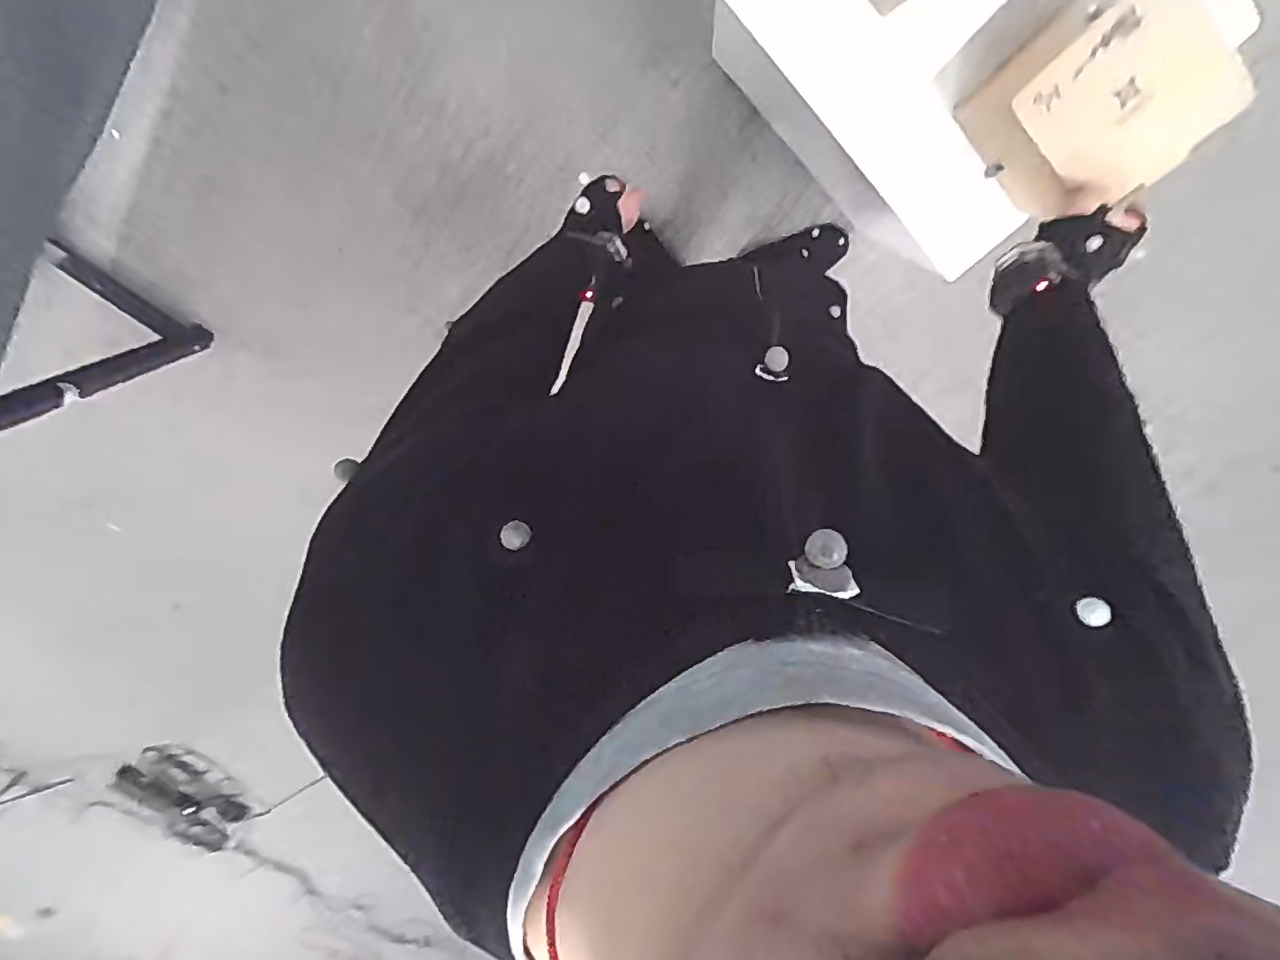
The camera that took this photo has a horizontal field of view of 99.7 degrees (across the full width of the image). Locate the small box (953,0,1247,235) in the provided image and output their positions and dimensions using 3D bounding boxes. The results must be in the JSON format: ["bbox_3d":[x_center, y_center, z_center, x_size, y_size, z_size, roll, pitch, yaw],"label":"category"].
[{"bbox_3d":[0.516,-0.423,0.633,0.179,0.176,0.168,40,114,-18],"label":"small box"}]
